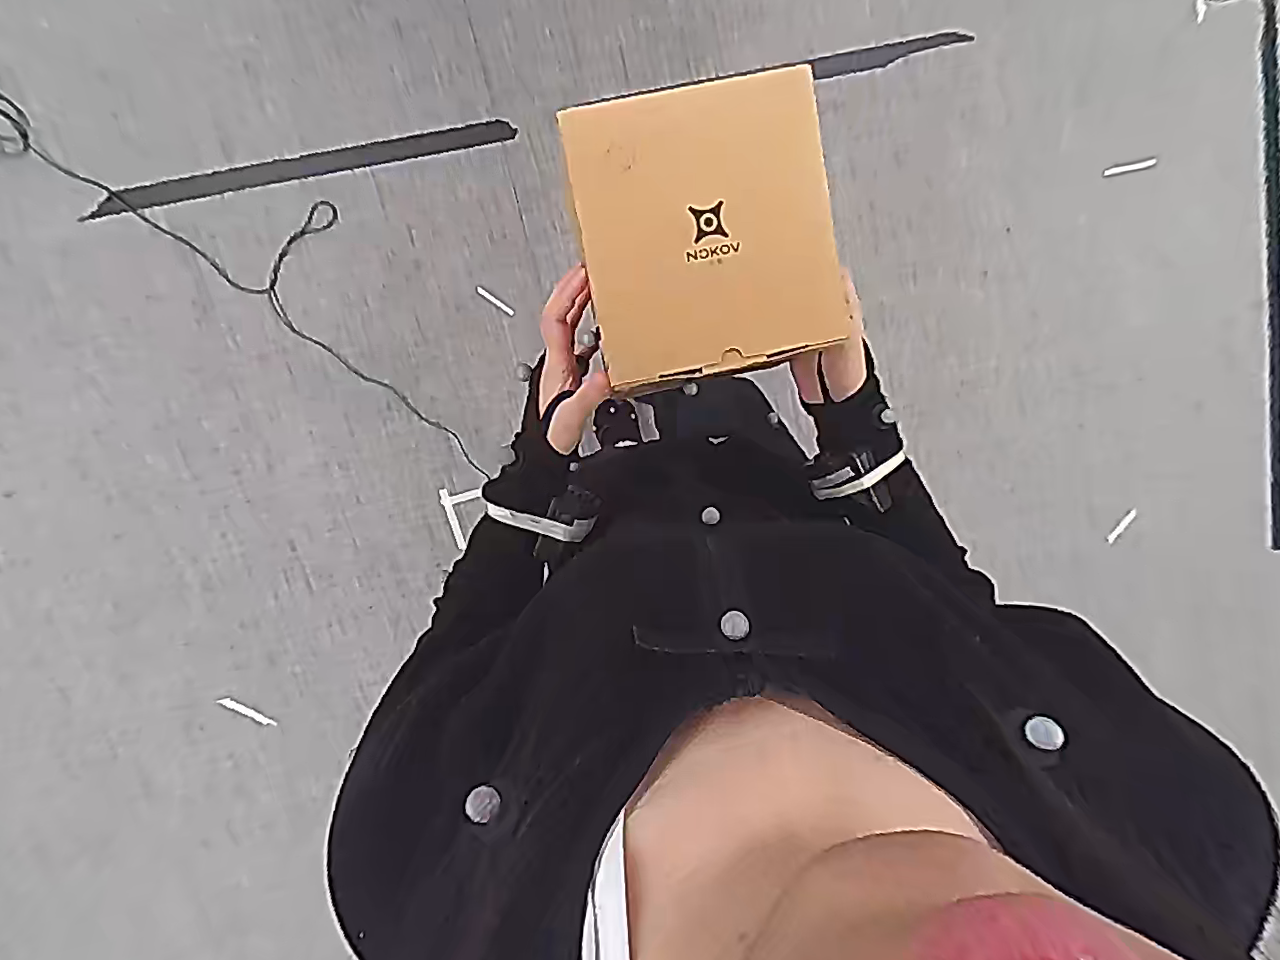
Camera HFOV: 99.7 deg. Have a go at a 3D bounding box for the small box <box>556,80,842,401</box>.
[{"bbox_3d":[0.036,-0.167,0.435,0.168,0.176,0.179,-13,98,-1],"label":"small box"}]
